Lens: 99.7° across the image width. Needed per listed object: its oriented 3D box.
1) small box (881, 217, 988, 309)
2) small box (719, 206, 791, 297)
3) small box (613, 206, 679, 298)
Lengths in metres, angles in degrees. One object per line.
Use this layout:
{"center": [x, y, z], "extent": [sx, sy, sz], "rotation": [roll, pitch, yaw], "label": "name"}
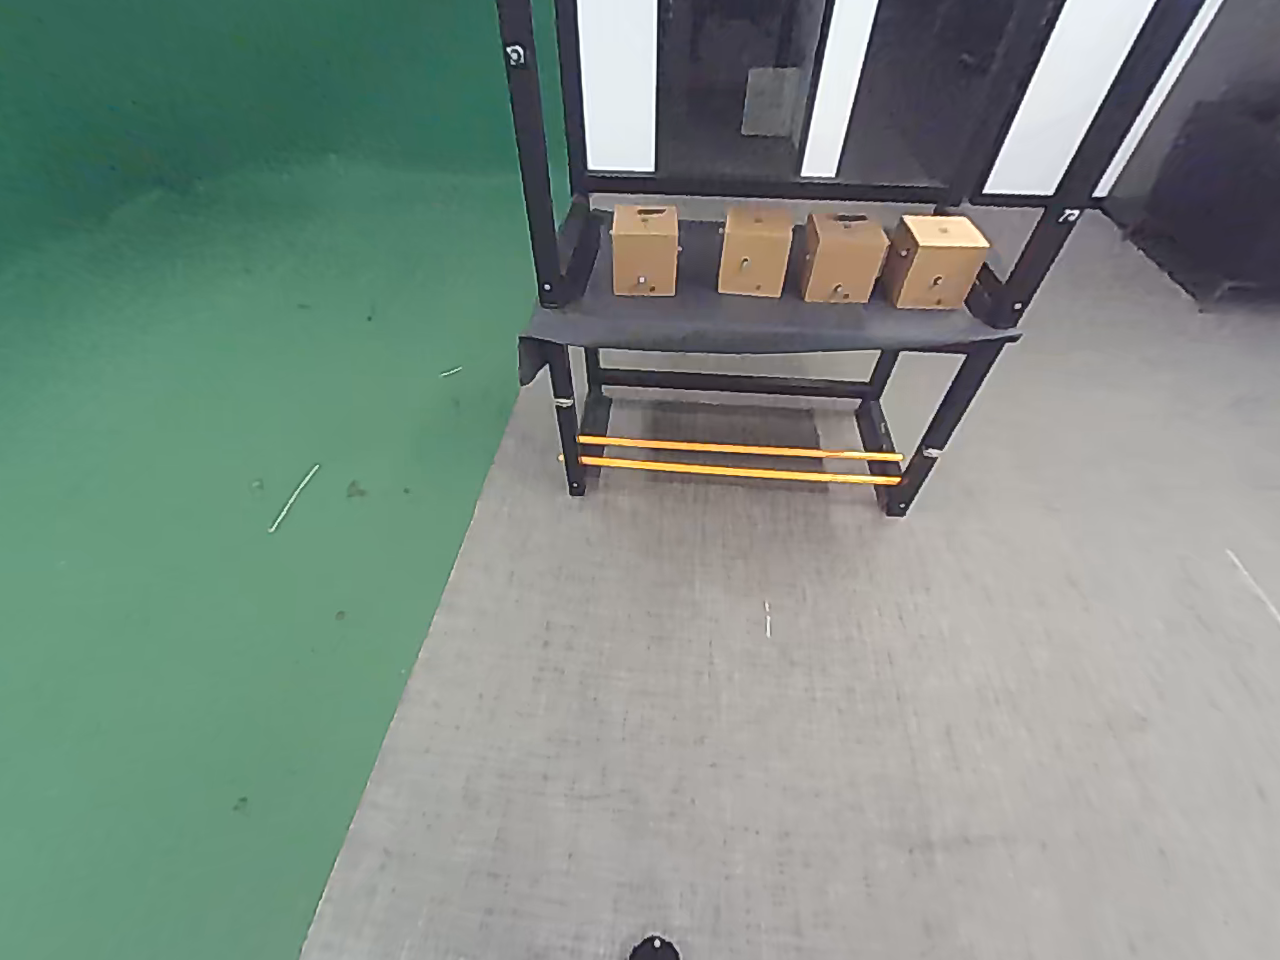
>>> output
{"center": [0.746, -0.557, 1.392], "extent": [0.168, 0.176, 0.179], "rotation": [3, 48, 2], "label": "small box"}
{"center": [0.304, -0.606, 1.441], "extent": [0.168, 0.176, 0.179], "rotation": [6, 48, 6], "label": "small box"}
{"center": [0.015, -0.607, 1.438], "extent": [0.168, 0.176, 0.179], "rotation": [1, 49, 1], "label": "small box"}
